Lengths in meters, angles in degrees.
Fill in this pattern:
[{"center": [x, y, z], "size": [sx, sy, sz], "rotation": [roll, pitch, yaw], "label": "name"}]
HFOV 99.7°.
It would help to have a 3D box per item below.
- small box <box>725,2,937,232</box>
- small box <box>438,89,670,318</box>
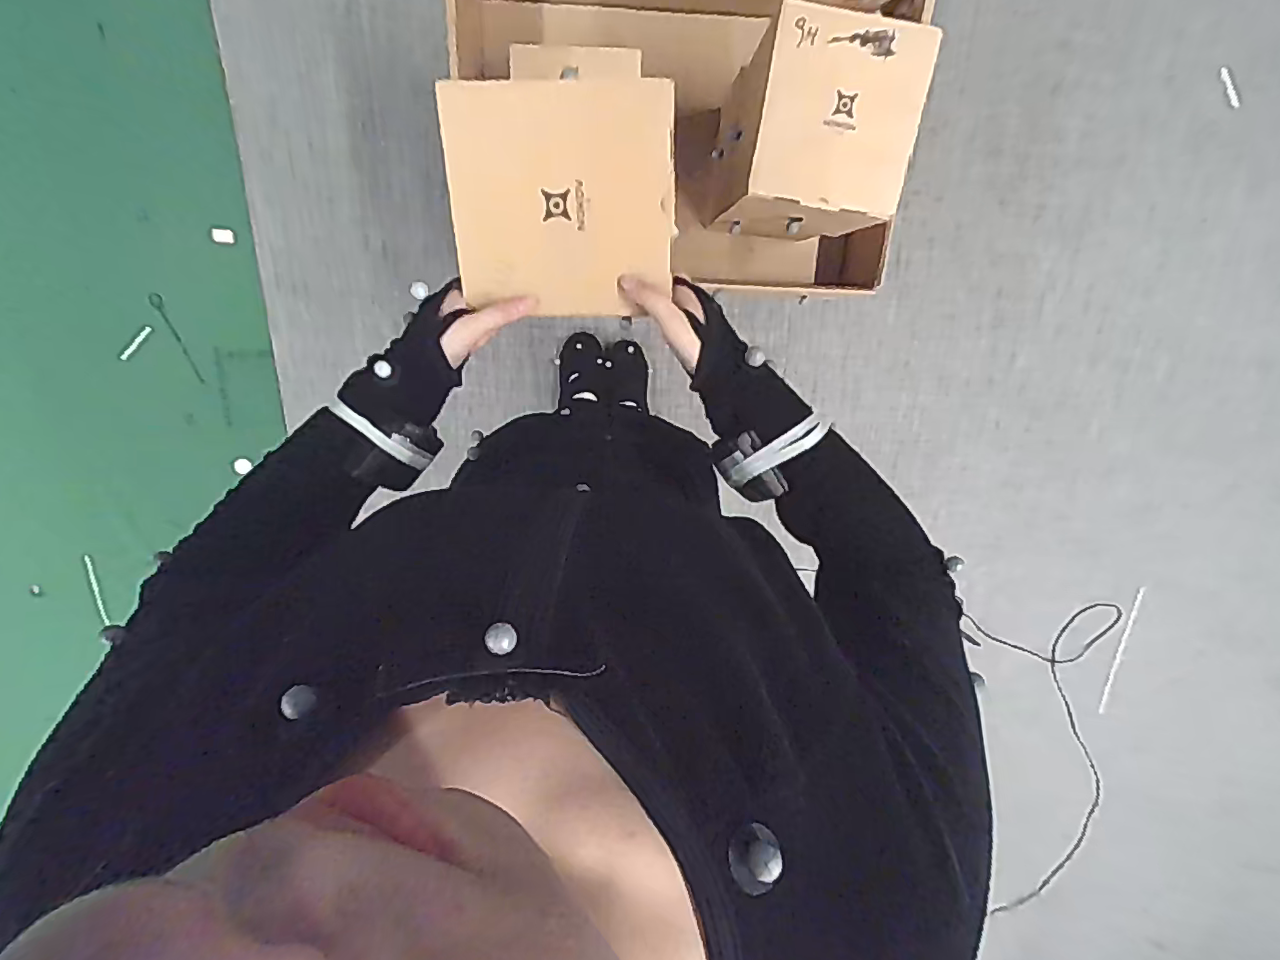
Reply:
[{"center": [0.202, -0.400, 0.633], "size": [0.168, 0.176, 0.179], "rotation": [8, 109, -4], "label": "small box"}, {"center": [-0.064, -0.240, 0.503], "size": [0.179, 0.176, 0.168], "rotation": [-1, 111, 0], "label": "small box"}]
